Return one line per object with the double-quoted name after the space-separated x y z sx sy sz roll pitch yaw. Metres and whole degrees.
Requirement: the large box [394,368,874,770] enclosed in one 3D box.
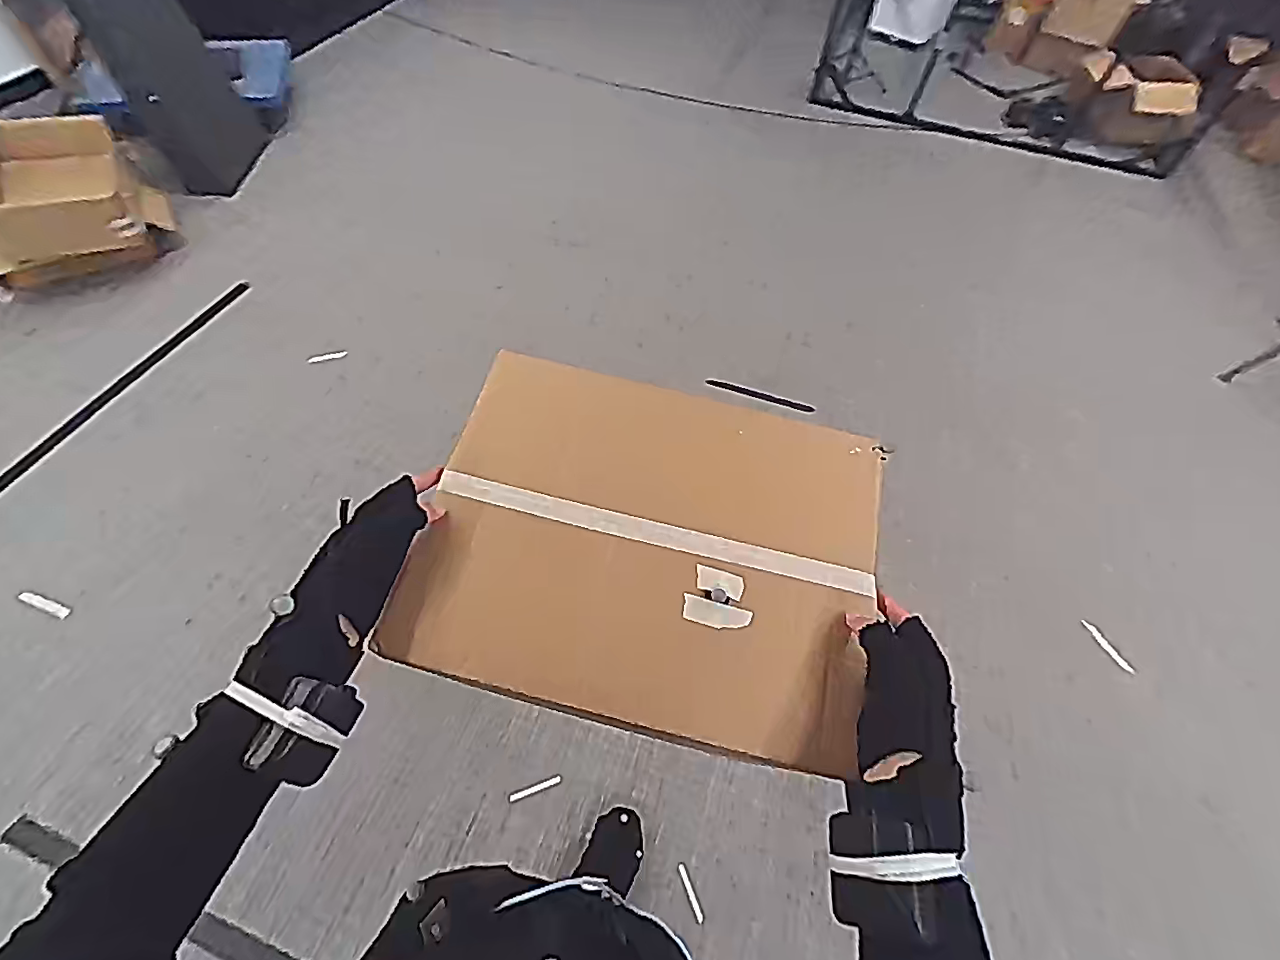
0.006 0.120 0.641 0.408 0.320 0.320 14 65 2 "large box"
